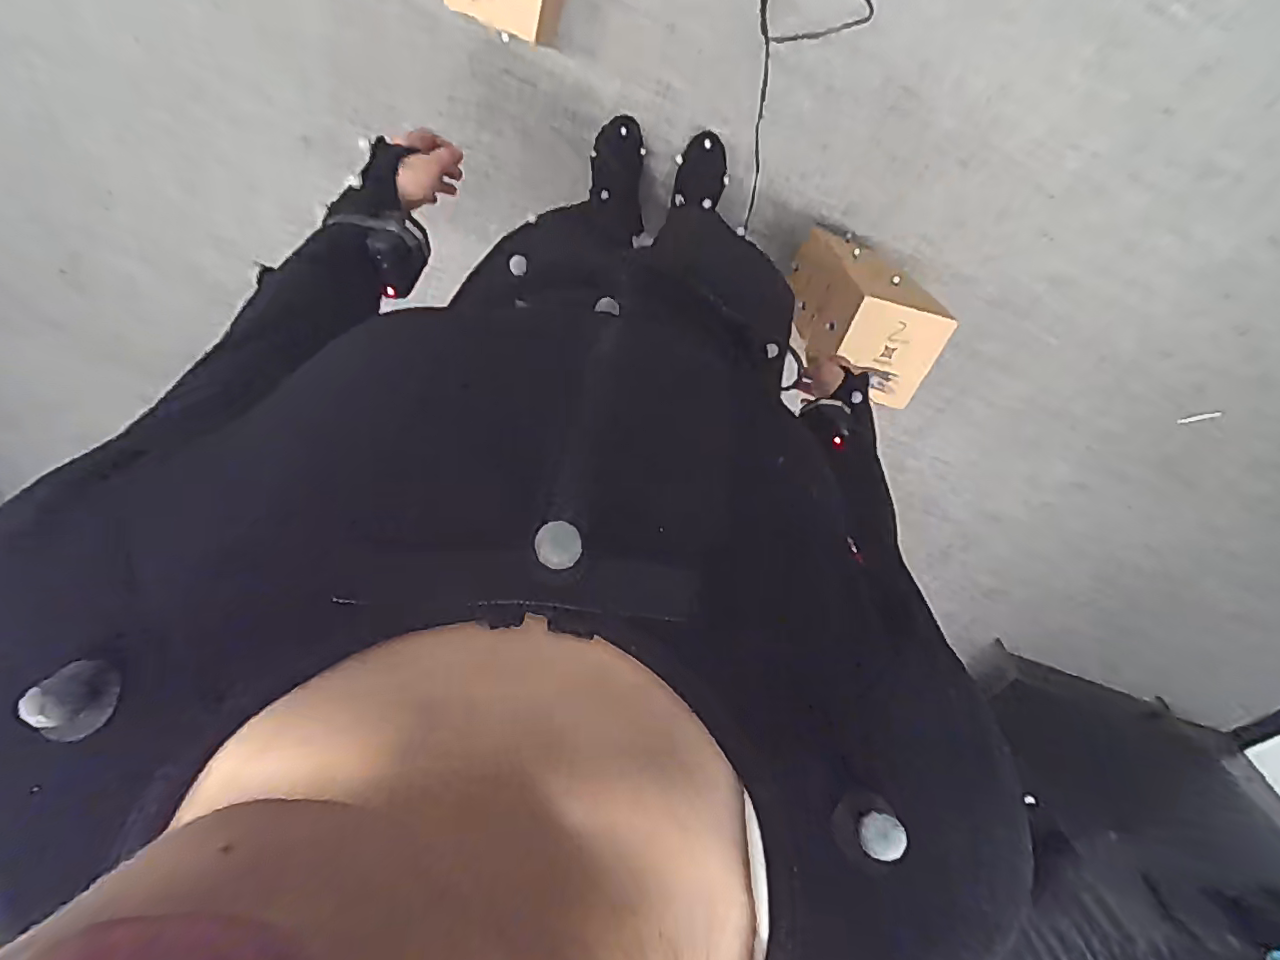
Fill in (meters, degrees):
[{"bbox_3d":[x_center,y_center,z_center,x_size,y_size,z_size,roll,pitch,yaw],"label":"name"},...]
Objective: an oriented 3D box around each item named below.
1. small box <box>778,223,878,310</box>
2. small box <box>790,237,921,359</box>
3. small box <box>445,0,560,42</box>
[{"bbox_3d":[0.438,-0.472,1.249,0.179,0.176,0.168,18,128,-9],"label":"small box"},{"bbox_3d":[0.429,-0.380,1.114,0.179,0.176,0.168,15,129,-8],"label":"small box"},{"bbox_3d":[-0.231,-0.913,0.956,0.168,0.176,0.179,18,127,-8],"label":"small box"}]
